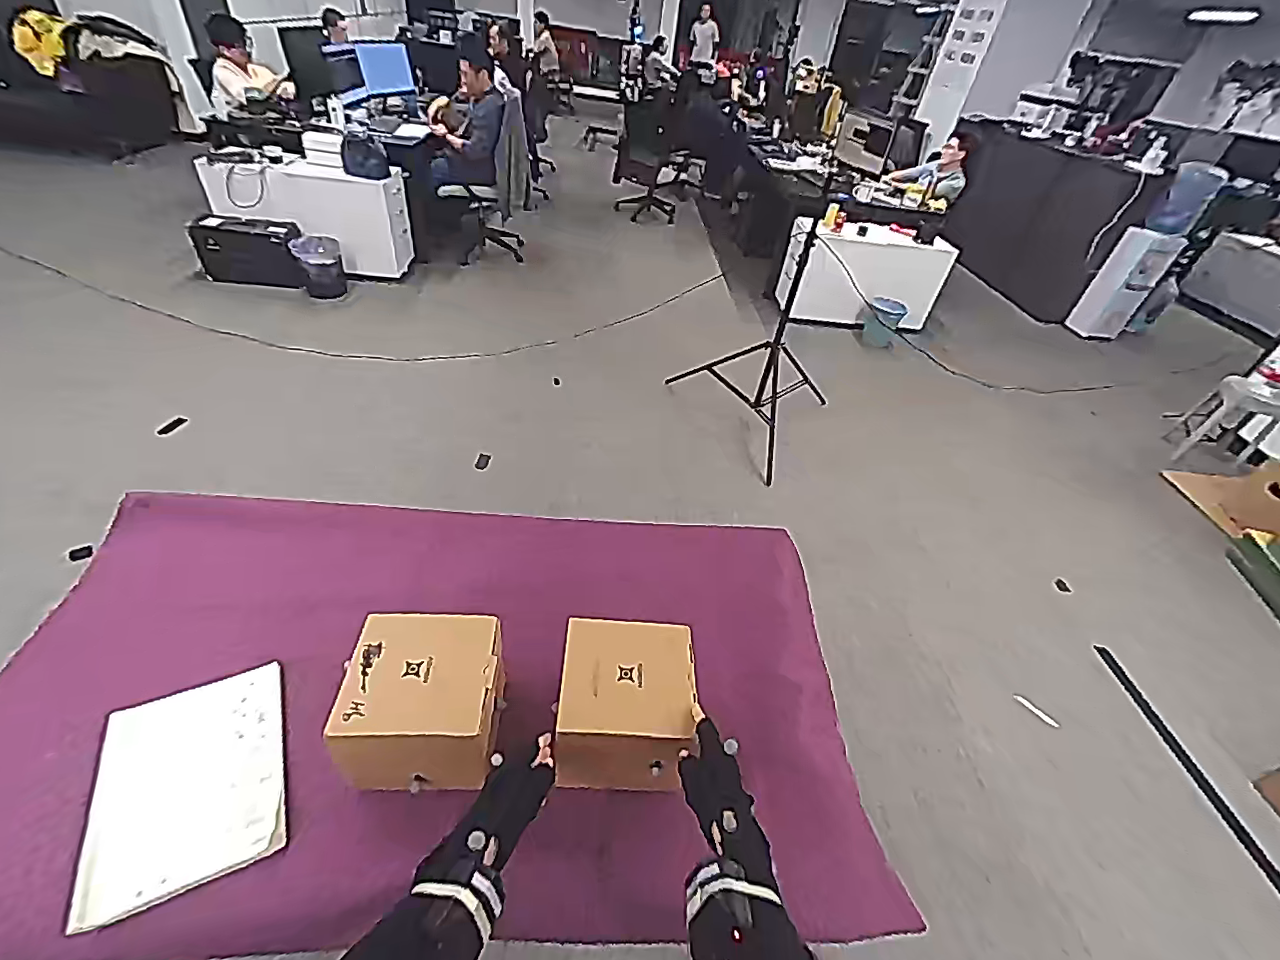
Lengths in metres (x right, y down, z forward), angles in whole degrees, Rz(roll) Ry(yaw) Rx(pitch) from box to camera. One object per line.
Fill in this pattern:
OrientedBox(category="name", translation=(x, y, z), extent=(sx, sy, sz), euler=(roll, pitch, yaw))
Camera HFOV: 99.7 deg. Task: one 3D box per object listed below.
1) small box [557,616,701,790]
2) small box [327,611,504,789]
OrientedBox(category="small box", translation=(-0.019, 0.313, 0.757), extent=(0.179, 0.176, 0.168), euler=(3, 39, -3))
OrientedBox(category="small box", translation=(-0.282, 0.297, 0.728), extent=(0.179, 0.176, 0.168), euler=(4, 40, -8))
